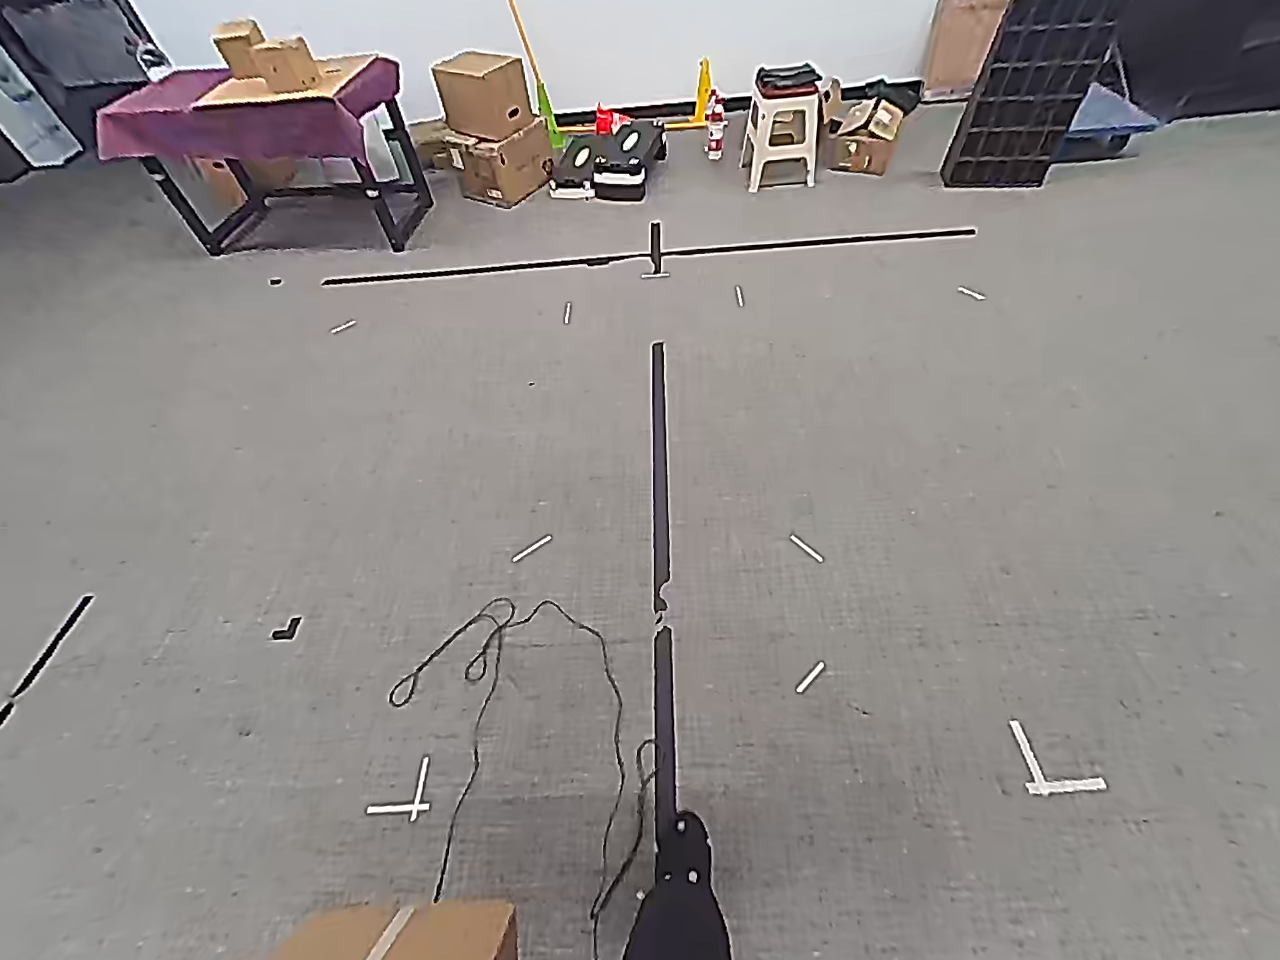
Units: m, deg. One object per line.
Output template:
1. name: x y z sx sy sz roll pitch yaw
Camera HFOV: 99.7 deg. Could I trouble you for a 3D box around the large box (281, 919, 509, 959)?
1. large box: -0.341 0.788 0.598 0.320 0.408 0.320 -4 83 1
